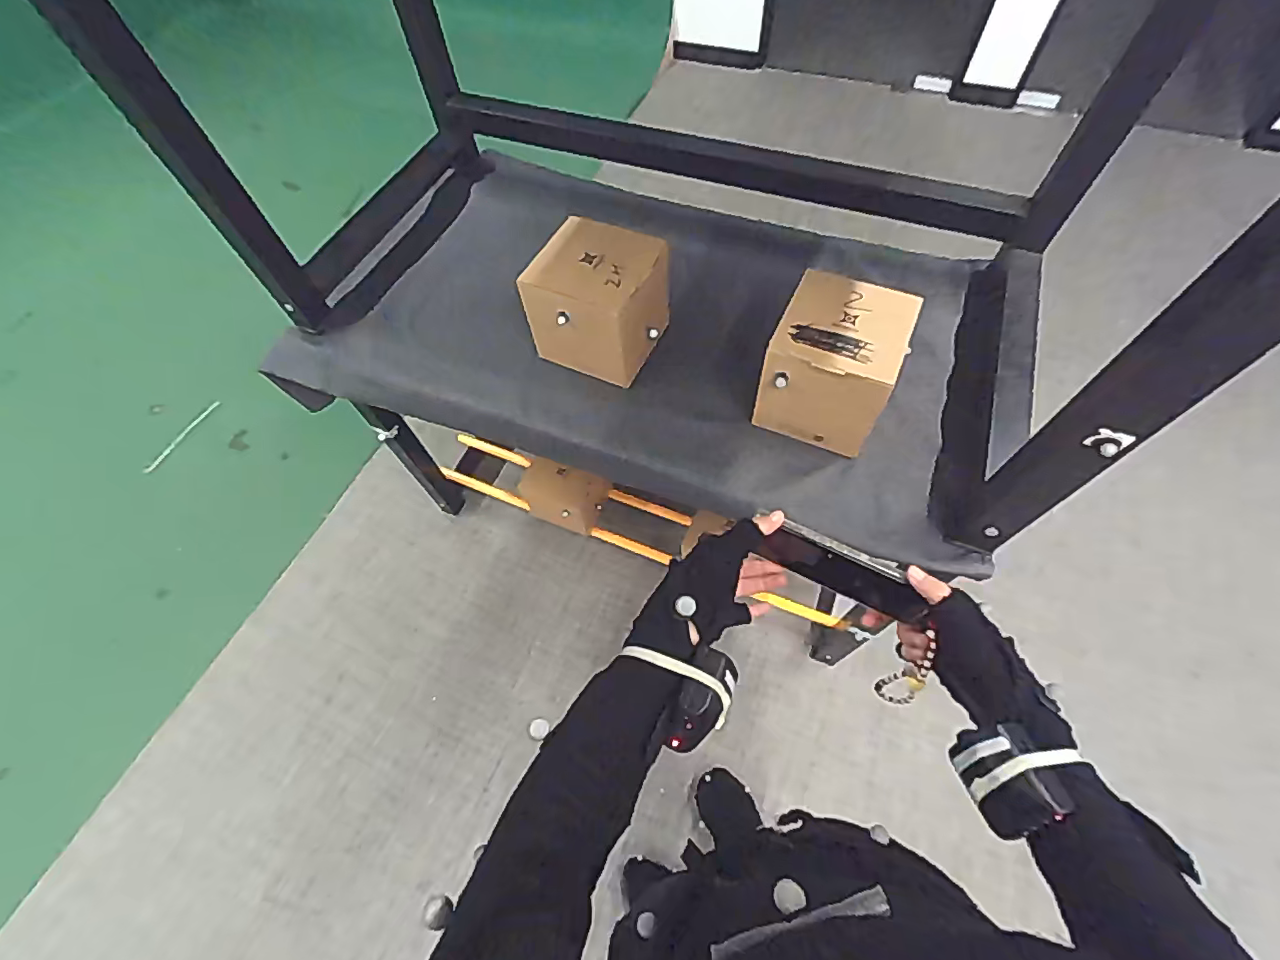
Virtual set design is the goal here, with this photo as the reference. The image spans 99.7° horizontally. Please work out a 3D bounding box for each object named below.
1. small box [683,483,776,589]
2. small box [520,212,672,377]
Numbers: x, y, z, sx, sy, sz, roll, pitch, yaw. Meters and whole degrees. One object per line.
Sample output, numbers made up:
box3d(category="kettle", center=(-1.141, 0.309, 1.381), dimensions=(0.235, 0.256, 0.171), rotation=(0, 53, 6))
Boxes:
box3d(category="small box", center=(0.216, 0.142, 1.325), dimensions=(0.168, 0.176, 0.179), rotation=(23, 65, 15))
box3d(category="small box", center=(-0.060, -0.292, 0.869), dimensions=(0.179, 0.176, 0.168), rotation=(22, 65, 15))
